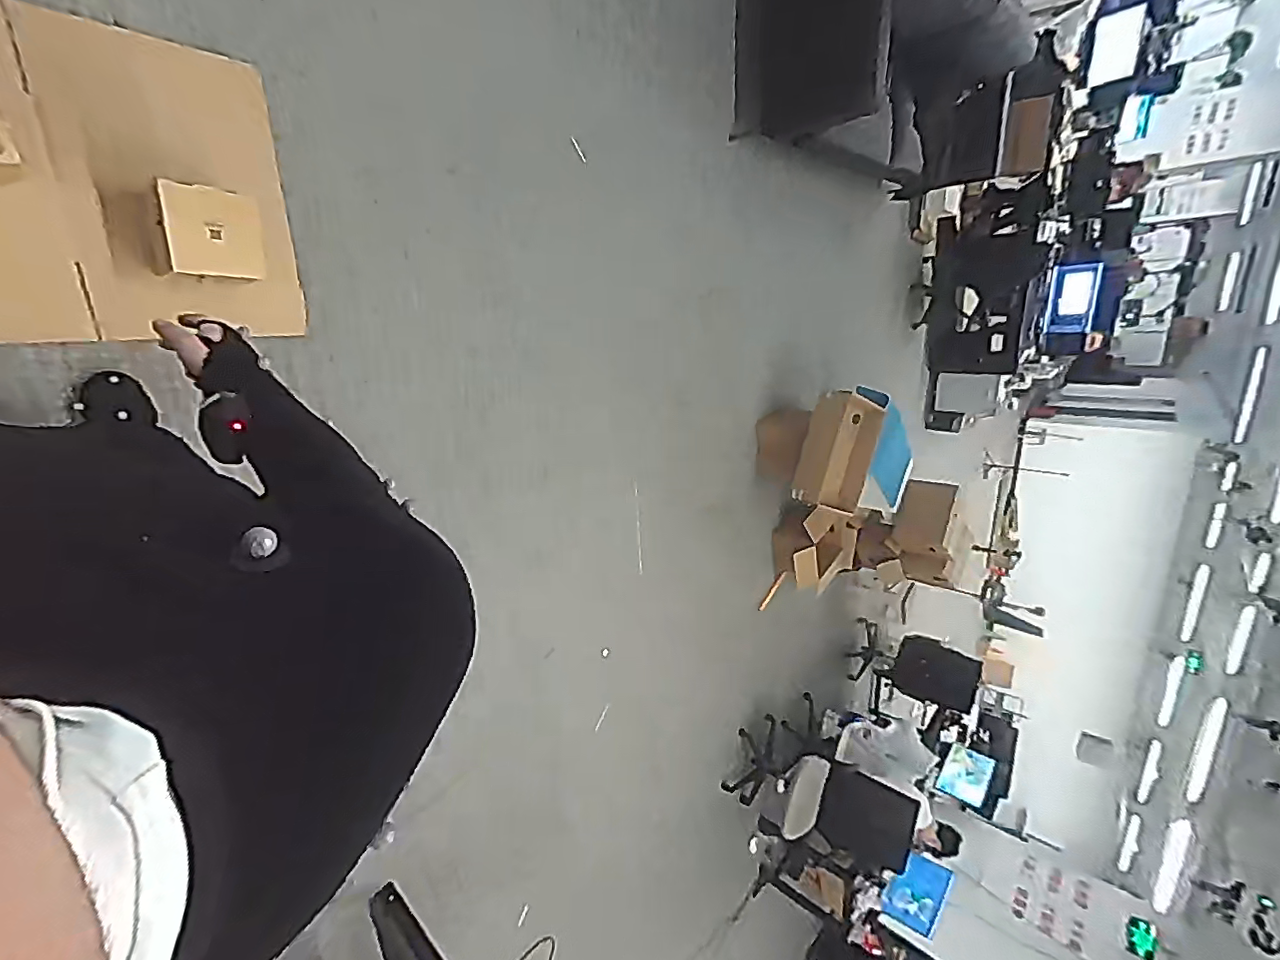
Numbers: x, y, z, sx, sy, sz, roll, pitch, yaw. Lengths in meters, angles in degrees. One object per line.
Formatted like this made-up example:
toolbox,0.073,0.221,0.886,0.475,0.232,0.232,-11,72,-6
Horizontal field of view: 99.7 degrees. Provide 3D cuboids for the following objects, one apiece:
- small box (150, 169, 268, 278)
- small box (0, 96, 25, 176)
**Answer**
small box,-0.934,-0.542,1.173,0.168,0.176,0.179,-14,109,-45
small box,-1.172,-0.622,0.890,0.168,0.176,0.179,-26,118,-42
